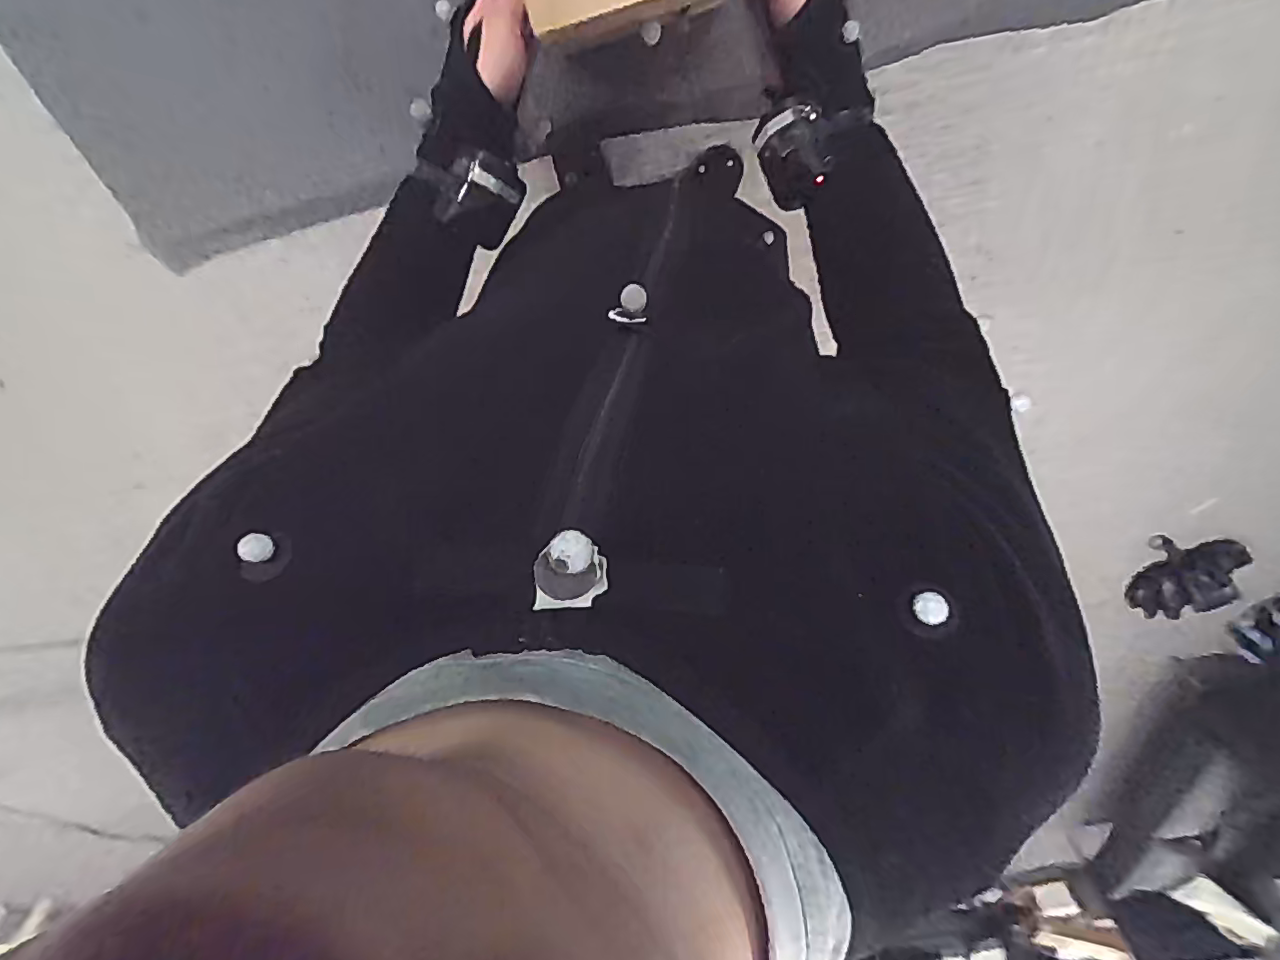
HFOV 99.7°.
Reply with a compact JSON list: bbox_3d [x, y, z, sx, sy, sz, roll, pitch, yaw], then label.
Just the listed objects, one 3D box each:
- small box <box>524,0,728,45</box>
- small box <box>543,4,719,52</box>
[{"bbox_3d":[-0.005,-0.379,0.304,0.168,0.176,0.179,-13,126,5],"label":"small box"},{"bbox_3d":[-0.016,-0.475,0.437,0.168,0.176,0.179,-14,123,6],"label":"small box"}]
